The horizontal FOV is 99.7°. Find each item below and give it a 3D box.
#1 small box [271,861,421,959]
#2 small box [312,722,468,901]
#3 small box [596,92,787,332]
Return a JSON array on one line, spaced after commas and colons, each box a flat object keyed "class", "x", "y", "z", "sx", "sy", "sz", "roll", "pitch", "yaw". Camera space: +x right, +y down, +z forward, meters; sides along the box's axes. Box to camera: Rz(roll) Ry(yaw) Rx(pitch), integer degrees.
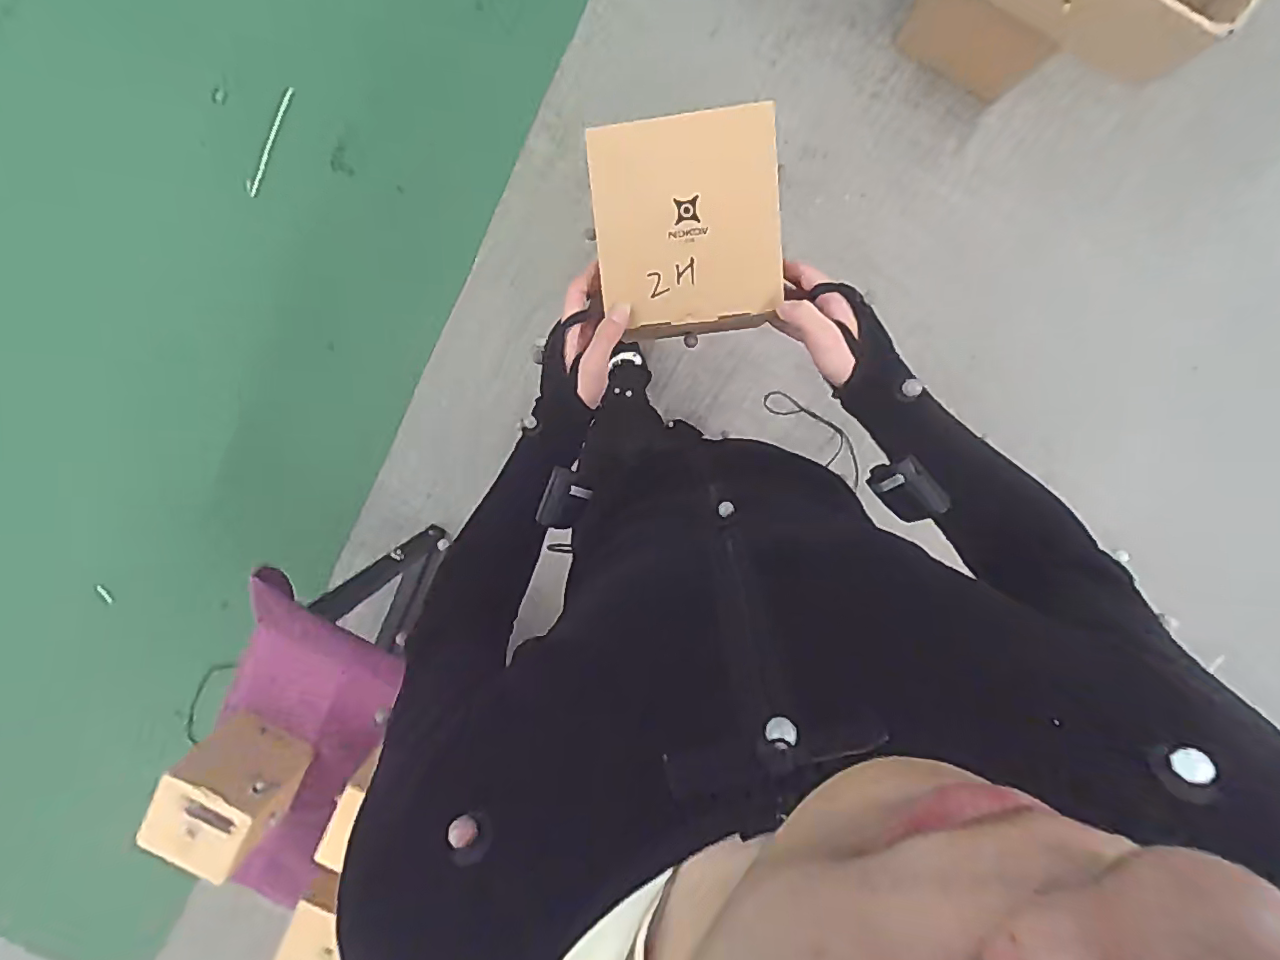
[{"class": "small box", "x": -0.544, "y": 0.812, "z": 1.020, "sx": 0.168, "sy": 0.176, "sz": 0.179, "roll": 27, "pitch": 101, "yaw": -3}, {"class": "small box", "x": -0.432, "y": 0.579, "z": 0.963, "sx": 0.168, "sy": 0.176, "sz": 0.179, "roll": 27, "pitch": 102, "yaw": -2}, {"class": "small box", "x": 0.051, "y": -0.254, "z": 0.555, "sx": 0.168, "sy": 0.176, "sz": 0.179, "roll": -4, "pitch": 101, "yaw": 5}]
